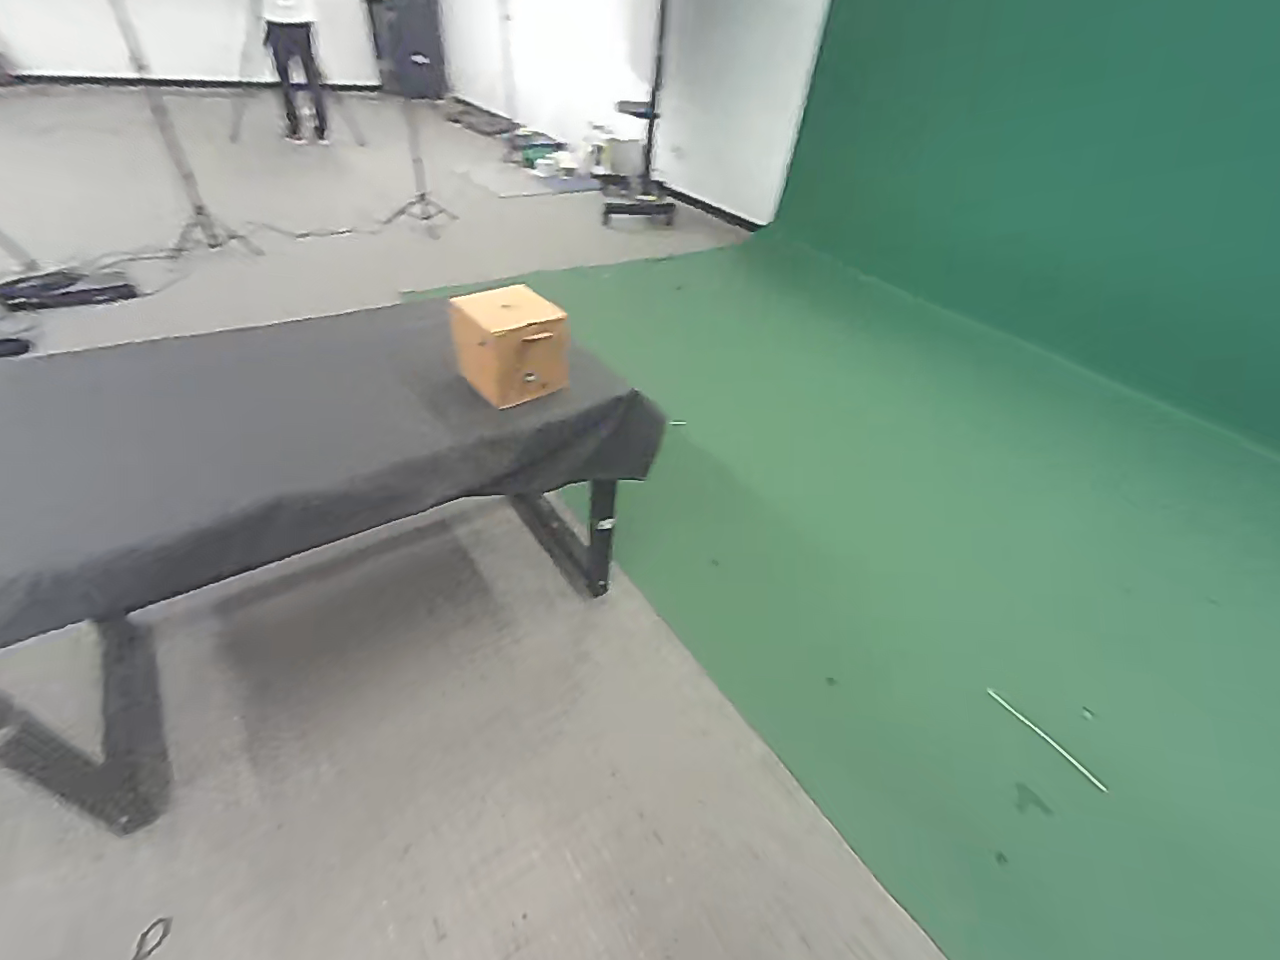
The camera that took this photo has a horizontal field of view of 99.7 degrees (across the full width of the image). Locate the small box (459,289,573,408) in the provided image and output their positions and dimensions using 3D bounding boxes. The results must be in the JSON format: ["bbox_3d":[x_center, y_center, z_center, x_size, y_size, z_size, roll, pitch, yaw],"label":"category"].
[{"bbox_3d":[-0.256,-0.275,1.122,0.168,0.176,0.179,-26,51,-32],"label":"small box"}]
